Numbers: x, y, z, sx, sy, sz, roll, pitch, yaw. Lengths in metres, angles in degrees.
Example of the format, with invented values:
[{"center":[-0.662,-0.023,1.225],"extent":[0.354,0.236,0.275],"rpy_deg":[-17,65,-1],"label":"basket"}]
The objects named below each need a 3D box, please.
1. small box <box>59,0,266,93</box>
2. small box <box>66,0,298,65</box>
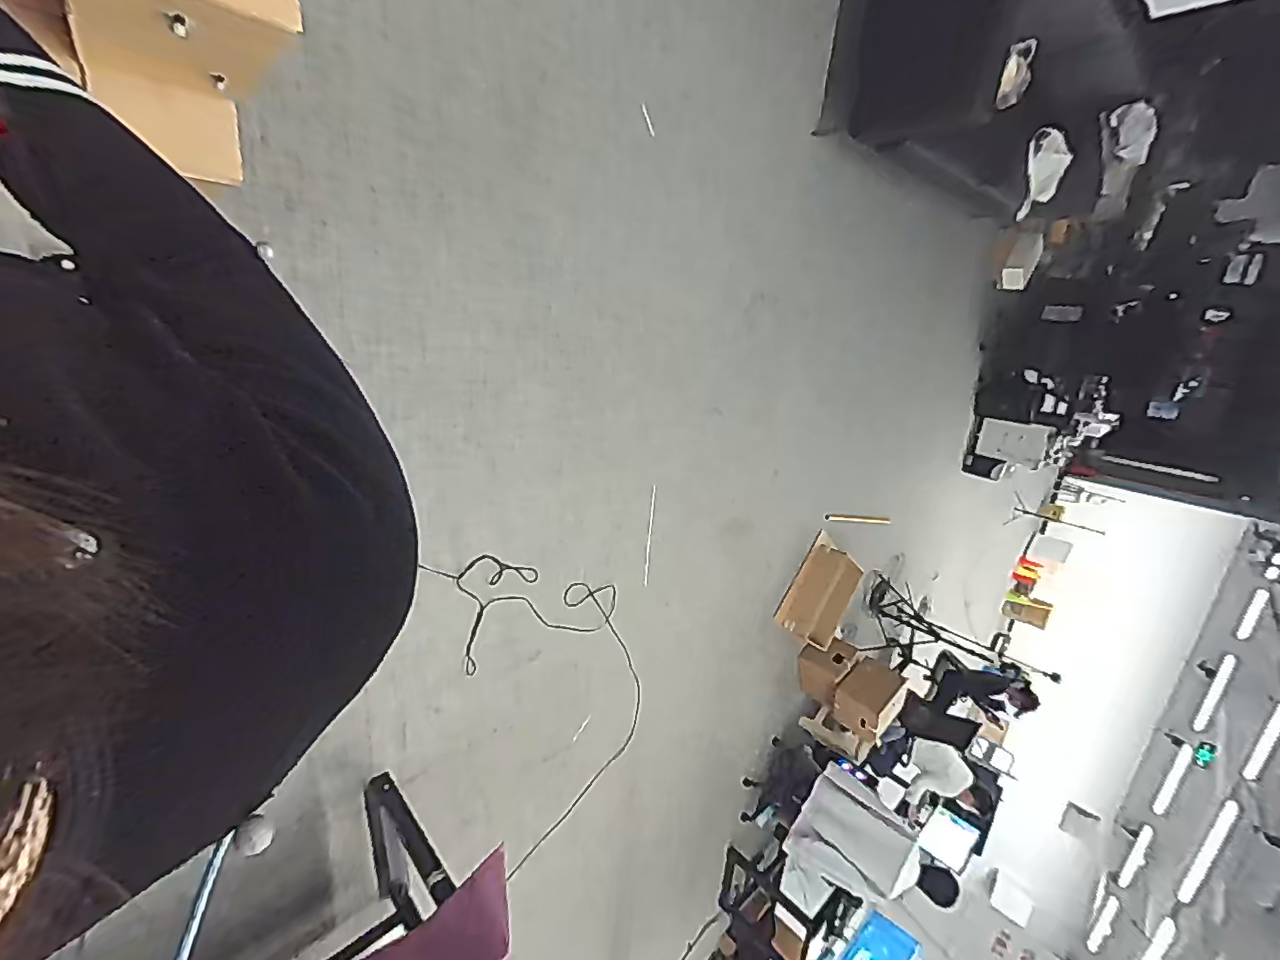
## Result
[{"center":[-0.568,-0.585,0.636],"extent":[0.179,0.176,0.168],"rpy_deg":[-11,113,-41],"label":"small box"},{"center":[-0.456,-0.540,0.525],"extent":[0.179,0.176,0.168],"rpy_deg":[-9,112,-41],"label":"small box"}]
